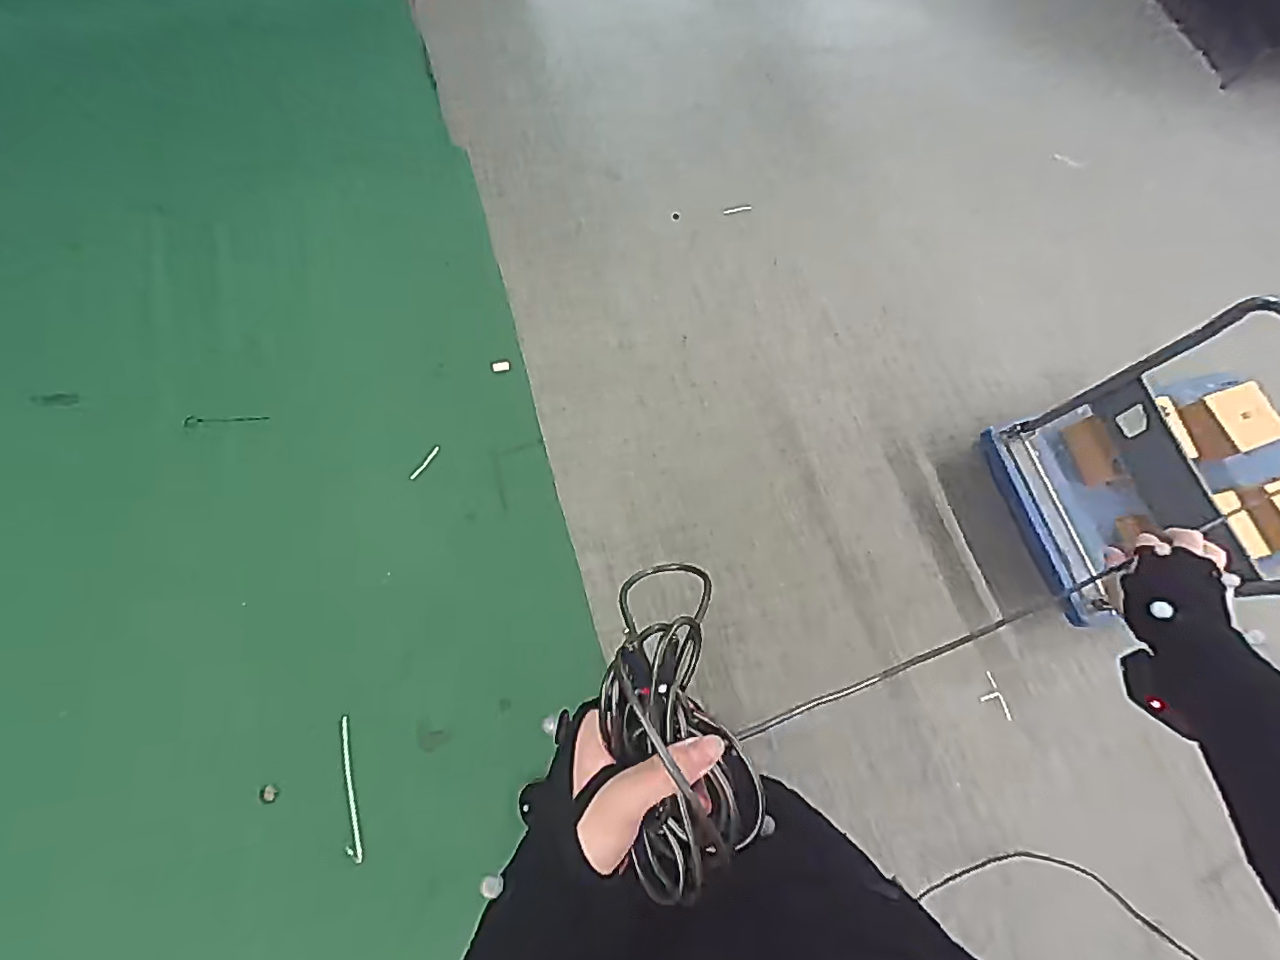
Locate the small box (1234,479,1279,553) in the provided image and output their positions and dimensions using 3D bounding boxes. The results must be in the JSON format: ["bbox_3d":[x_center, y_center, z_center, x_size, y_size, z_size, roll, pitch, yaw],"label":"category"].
[{"bbox_3d":[1.647,0.091,1.403,0.179,0.176,0.168,-15,72,-8],"label":"small box"}]

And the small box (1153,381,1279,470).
[{"bbox_3d":[1.570,-0.143,1.476,0.179,0.176,0.168,-17,74,-9],"label":"small box"}]

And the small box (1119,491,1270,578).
[{"bbox_3d":[1.390,0.142,1.369,0.179,0.176,0.168,-12,73,-7],"label":"small box"}]
